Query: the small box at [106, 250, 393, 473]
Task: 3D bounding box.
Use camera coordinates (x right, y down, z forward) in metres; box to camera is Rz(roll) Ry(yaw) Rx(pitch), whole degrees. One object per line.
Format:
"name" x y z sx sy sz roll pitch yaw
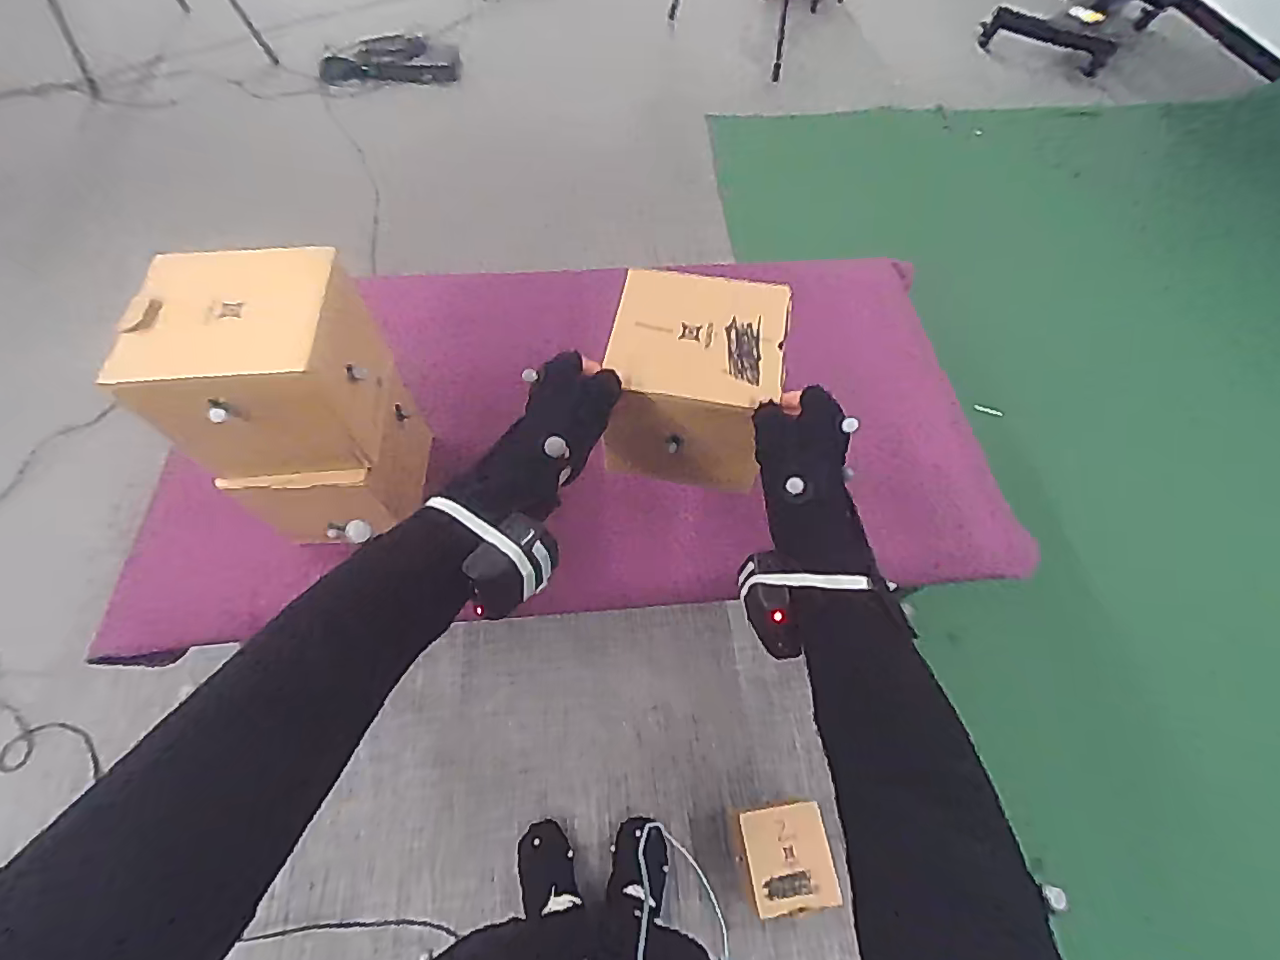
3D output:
"small box" -0.385 -0.119 0.578 0.179 0.176 0.168 -4 62 -5

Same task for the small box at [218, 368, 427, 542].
"small box" -0.395 -0.031 0.715 0.168 0.176 0.179 0 62 -3

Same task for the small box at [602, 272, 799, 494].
"small box" 0.064 -0.100 0.612 0.179 0.176 0.168 11 63 5
